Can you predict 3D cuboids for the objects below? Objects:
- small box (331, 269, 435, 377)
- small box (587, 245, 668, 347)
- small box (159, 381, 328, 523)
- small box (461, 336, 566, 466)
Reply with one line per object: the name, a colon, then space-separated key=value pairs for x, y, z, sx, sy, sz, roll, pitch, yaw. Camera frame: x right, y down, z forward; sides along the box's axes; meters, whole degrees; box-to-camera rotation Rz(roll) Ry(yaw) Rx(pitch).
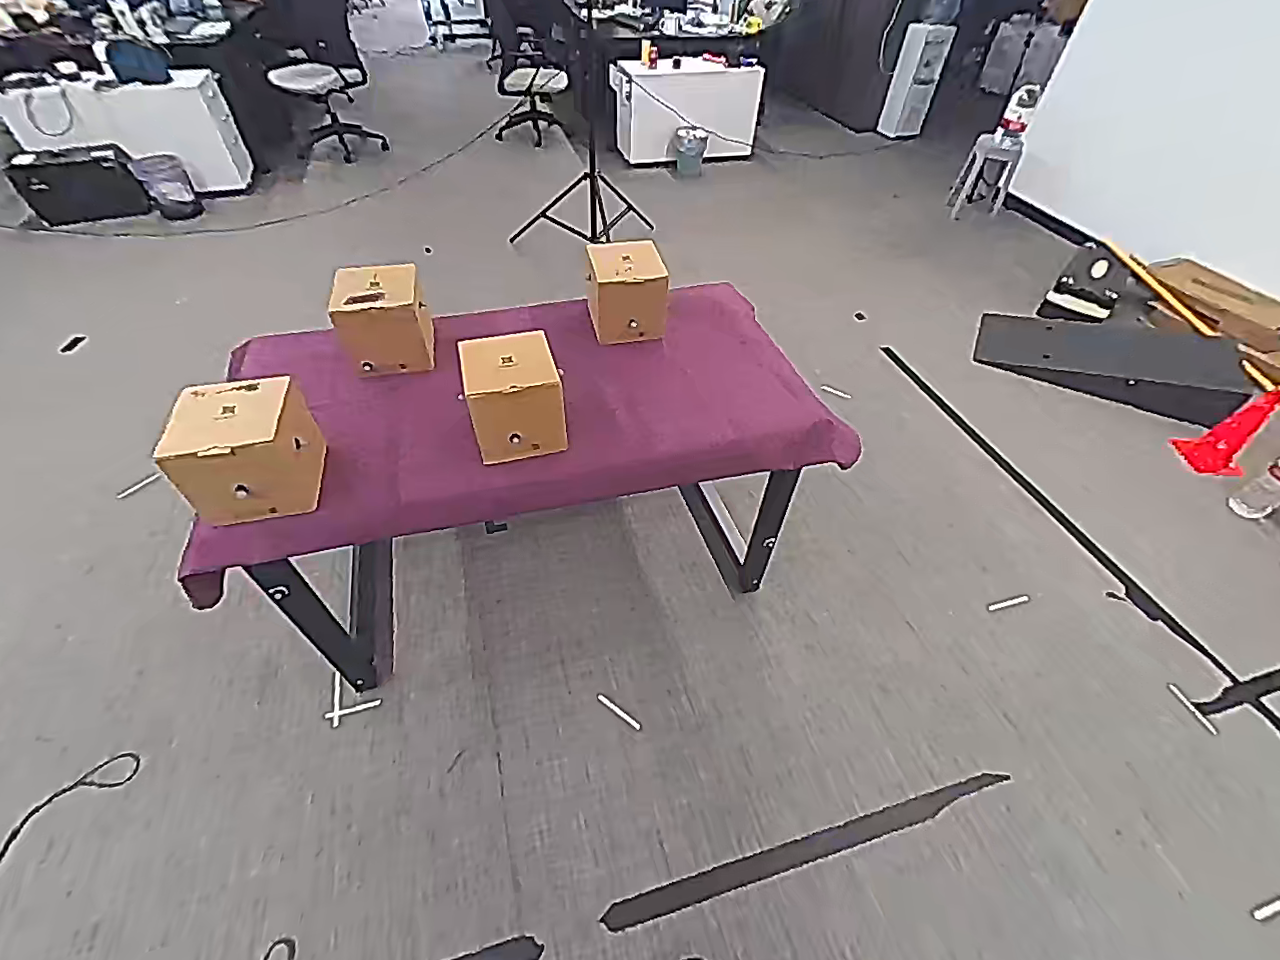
small box: x=-0.563 y=-0.345 z=1.209 sx=0.168 sy=0.176 sz=0.179 roll=-9 pitch=49 yaw=-11
small box: x=-0.036 y=-0.450 z=1.325 sx=0.168 sy=0.176 sz=0.179 roll=-9 pitch=51 yaw=-9
small box: x=-0.661 y=-0.042 z=0.929 sx=0.168 sy=0.176 sz=0.179 roll=-10 pitch=49 yaw=-12
small box: x=-0.245 y=-0.154 z=1.054 sx=0.168 sy=0.176 sz=0.179 roll=-12 pitch=49 yaw=-13
